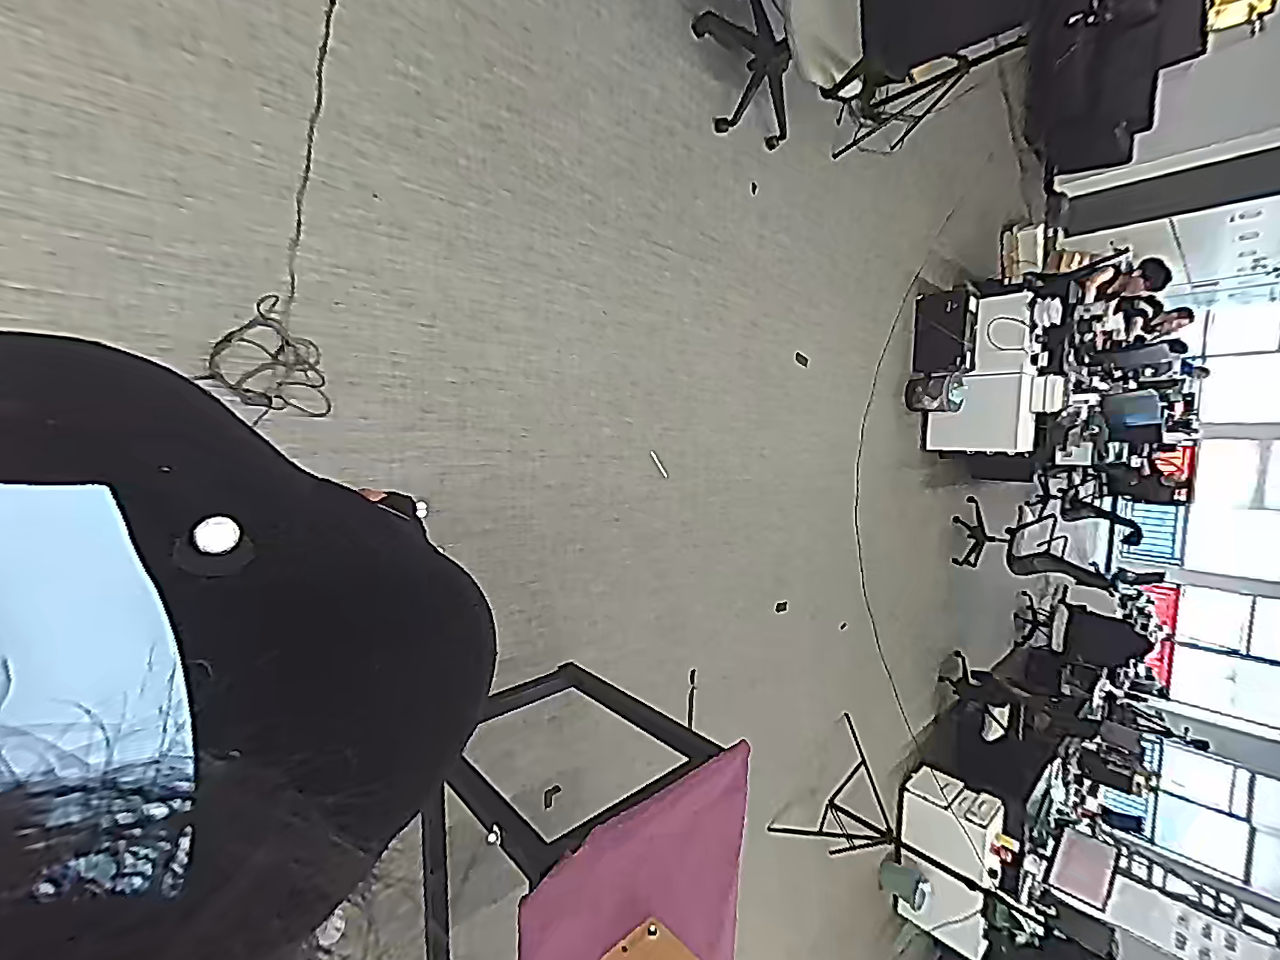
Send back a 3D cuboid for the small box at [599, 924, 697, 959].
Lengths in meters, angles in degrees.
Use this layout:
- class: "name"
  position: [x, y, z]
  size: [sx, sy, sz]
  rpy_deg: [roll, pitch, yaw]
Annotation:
- class: "small box"
  position: [0.015, 1.083, 1.124]
  size: [0.168, 0.176, 0.179]
  rpy_deg: [-3, 97, -42]
